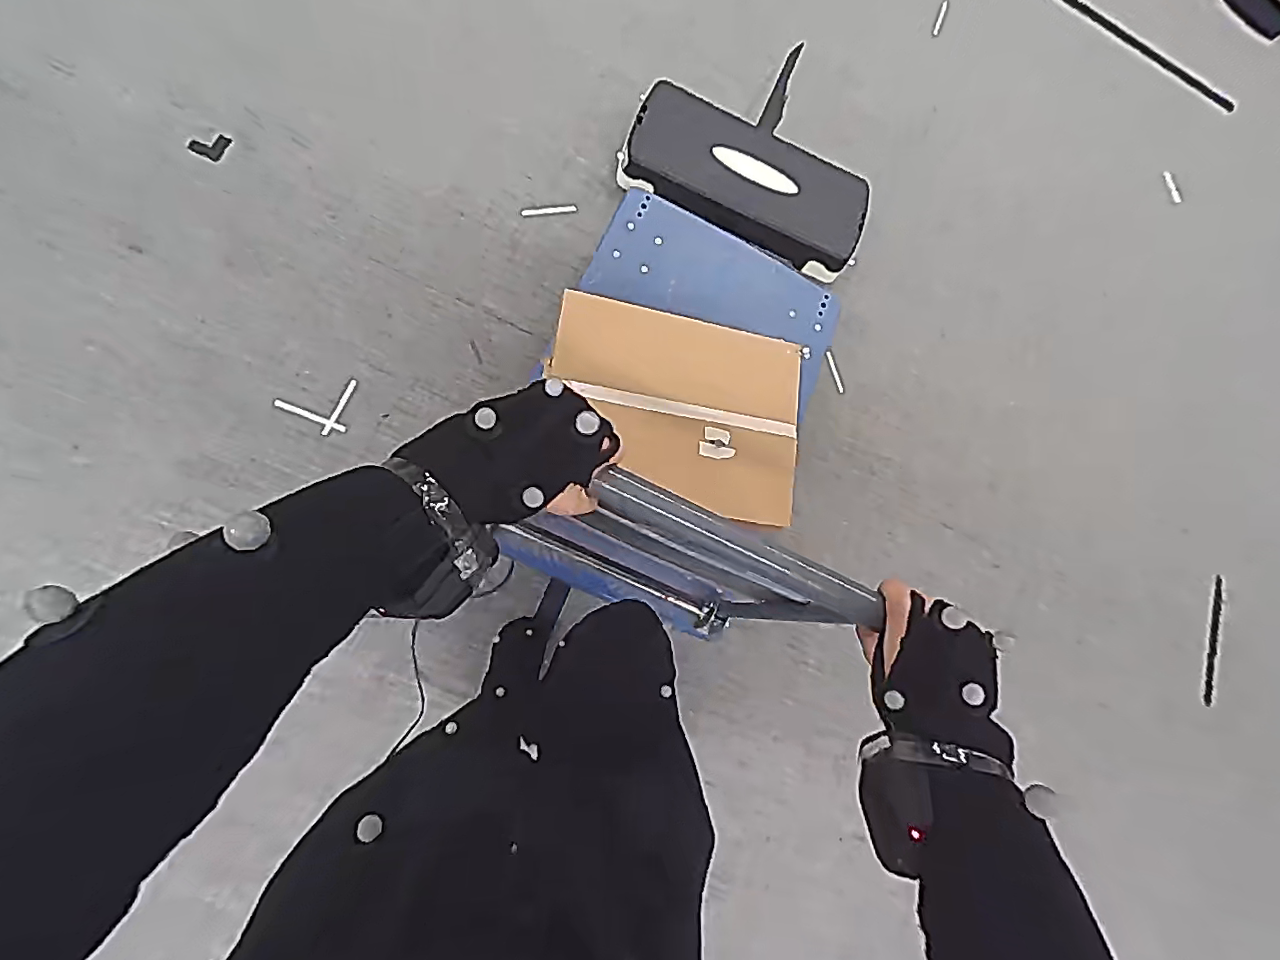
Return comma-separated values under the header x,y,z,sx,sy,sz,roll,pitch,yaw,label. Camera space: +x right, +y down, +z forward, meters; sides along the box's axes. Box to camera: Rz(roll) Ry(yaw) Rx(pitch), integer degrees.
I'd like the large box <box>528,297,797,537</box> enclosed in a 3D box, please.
x,y,z,sx,sy,sz,roll,pitch,yaw,label
0.023,-0.082,0.987,0.408,0.320,0.320,10,79,-13,large box
